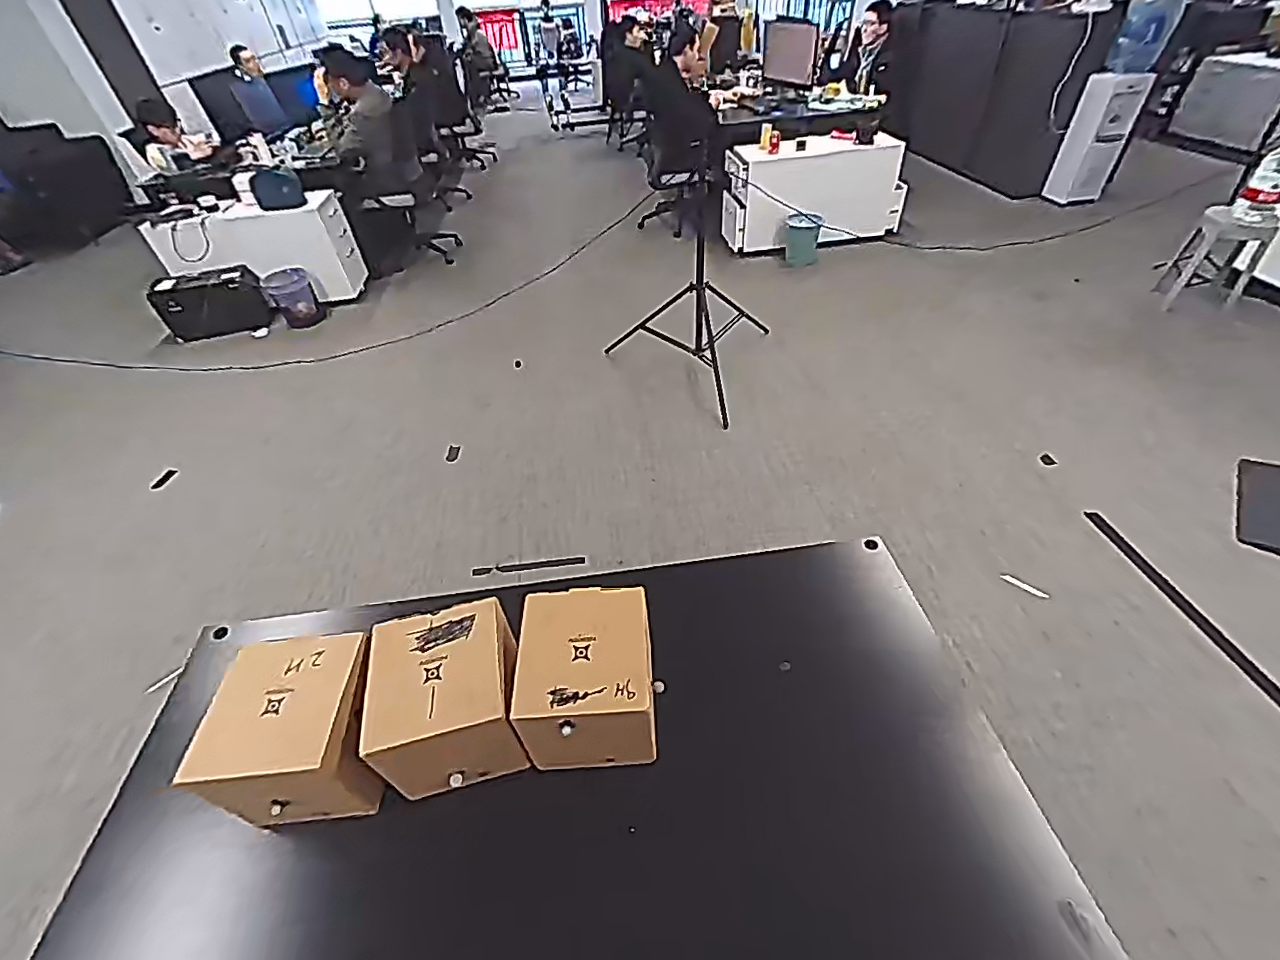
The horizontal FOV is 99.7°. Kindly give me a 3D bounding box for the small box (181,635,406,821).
[{"bbox_3d":[-0.434,0.333,0.719,0.168,0.176,0.179,-6,43,-1],"label":"small box"}]
